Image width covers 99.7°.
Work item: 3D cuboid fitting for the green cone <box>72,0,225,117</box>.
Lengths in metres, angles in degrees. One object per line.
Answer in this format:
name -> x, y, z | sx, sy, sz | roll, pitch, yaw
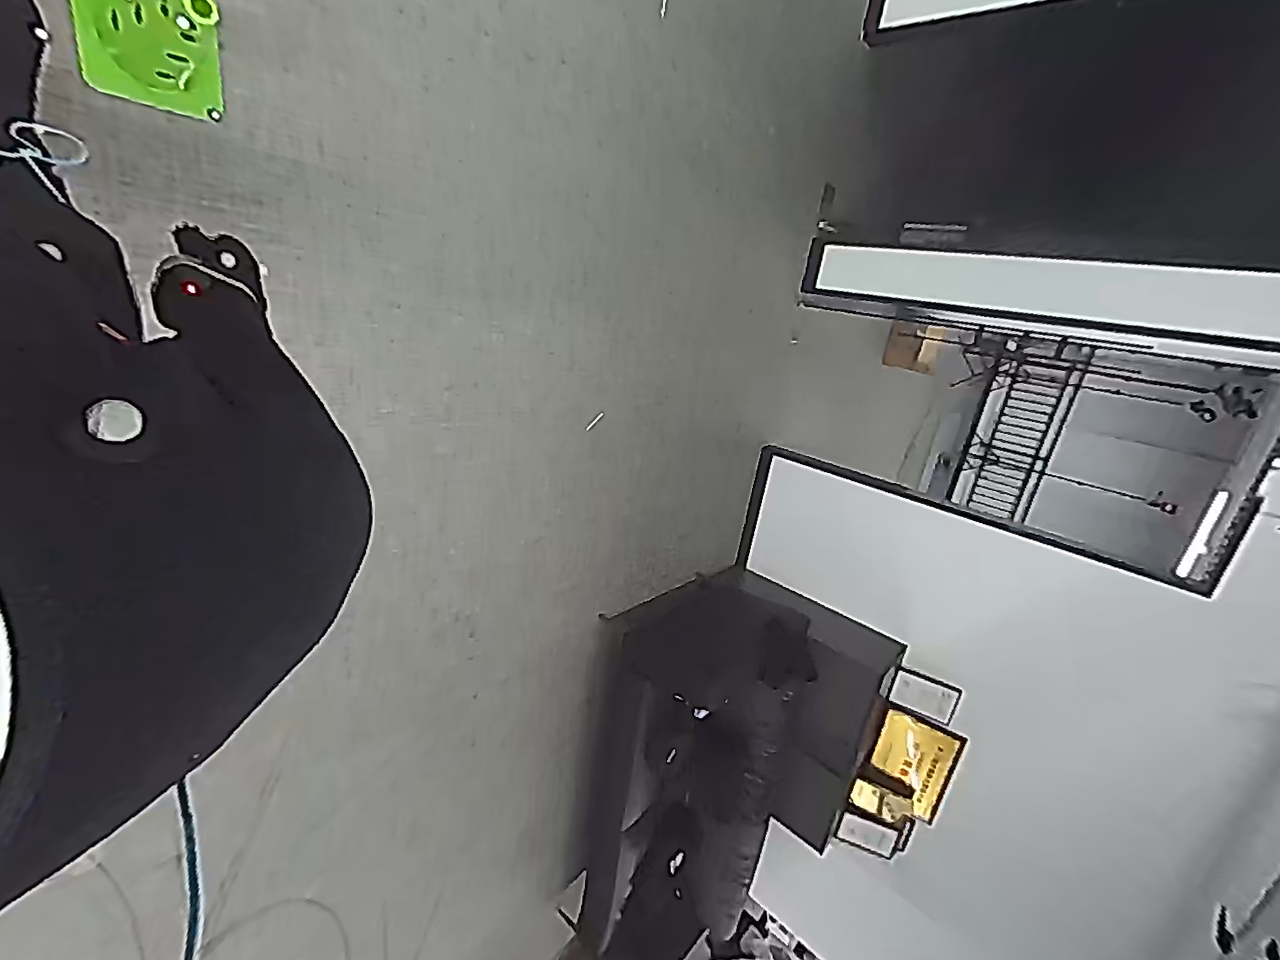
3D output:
green cone -> -0.752, -0.738, 0.867 | 0.202, 0.368, 0.200 | -12, 118, -46
